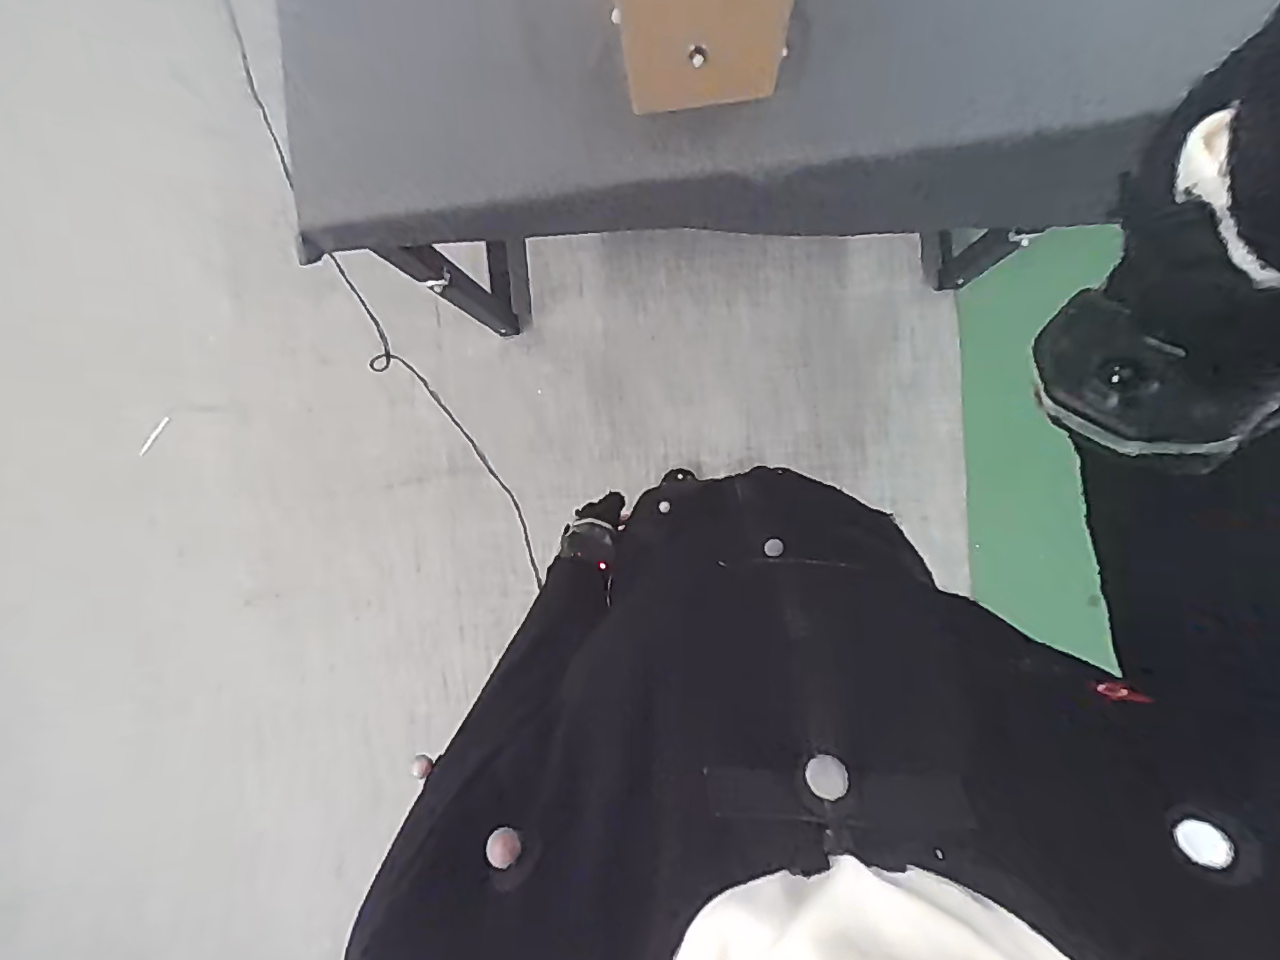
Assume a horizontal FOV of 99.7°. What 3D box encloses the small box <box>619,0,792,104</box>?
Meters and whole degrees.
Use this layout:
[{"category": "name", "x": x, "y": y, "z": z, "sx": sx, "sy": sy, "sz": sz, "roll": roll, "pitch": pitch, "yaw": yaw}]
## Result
[{"category": "small box", "x": 0.069, "y": -0.559, "z": 0.597, "sx": 0.179, "sy": 0.176, "sz": 0.168, "roll": -4, "pitch": 91, "yaw": 7}]
